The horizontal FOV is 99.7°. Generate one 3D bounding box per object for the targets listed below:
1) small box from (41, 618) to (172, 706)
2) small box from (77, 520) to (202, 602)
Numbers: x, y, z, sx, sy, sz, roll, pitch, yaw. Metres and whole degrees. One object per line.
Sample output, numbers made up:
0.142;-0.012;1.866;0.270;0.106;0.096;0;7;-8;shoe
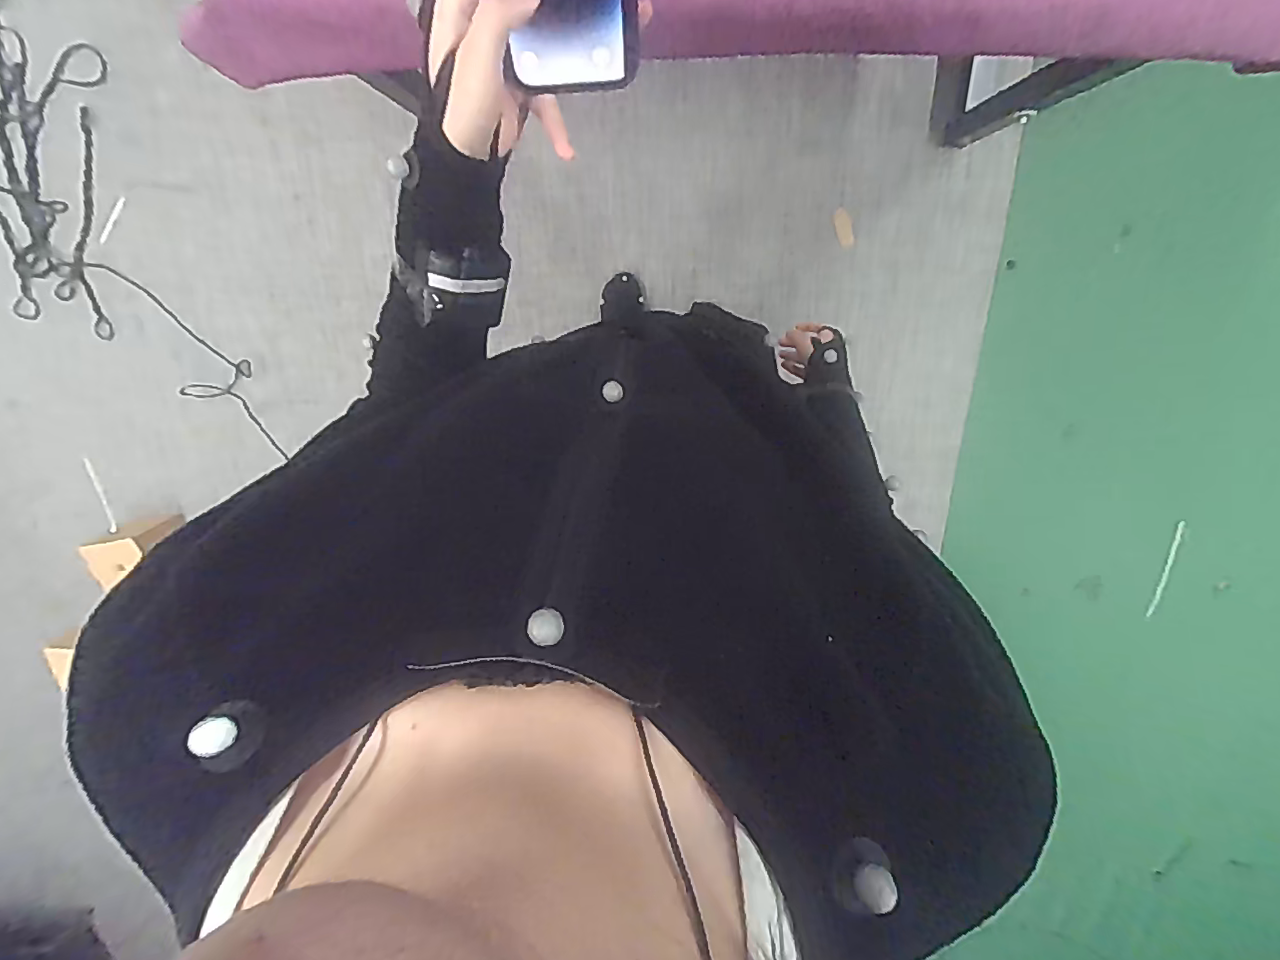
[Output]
-1.480;0.503;1.512;0.179;0.176;0.168;1;110;3;small box
-1.460;0.234;1.590;0.179;0.176;0.168;-10;110;5;small box
